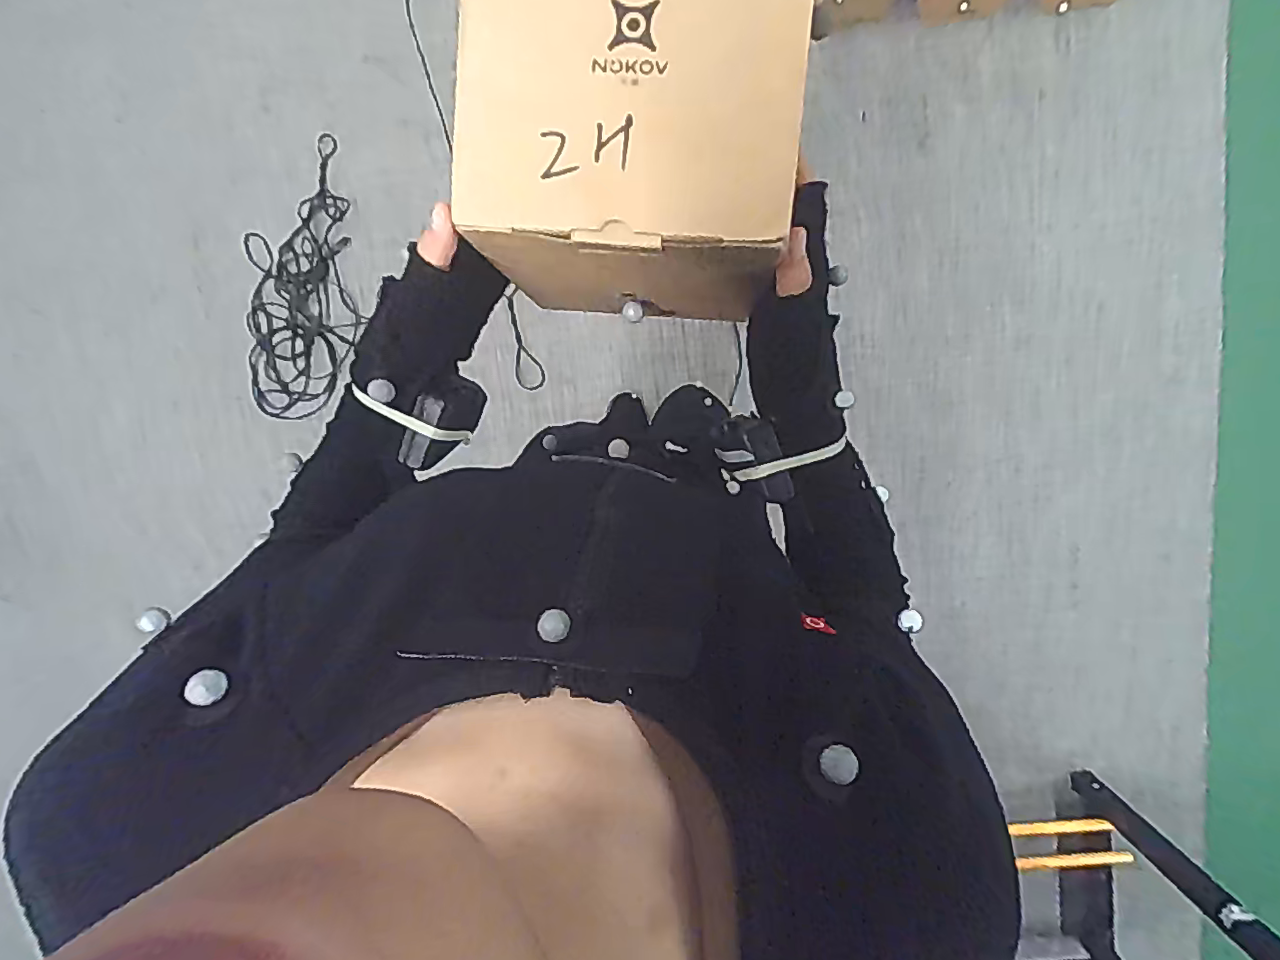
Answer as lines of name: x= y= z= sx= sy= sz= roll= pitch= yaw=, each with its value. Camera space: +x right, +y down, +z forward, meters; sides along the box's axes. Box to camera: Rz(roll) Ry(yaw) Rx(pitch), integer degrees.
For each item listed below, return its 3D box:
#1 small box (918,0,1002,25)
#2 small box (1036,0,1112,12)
small box: x=0.730 y=-1.154 z=1.185 sx=0.168 sy=0.176 sz=0.179 roll=-5 pitch=99 yaw=2
small box: x=0.999 y=-1.166 z=1.174 sx=0.168 sy=0.176 sz=0.179 roll=-5 pitch=98 yaw=3
